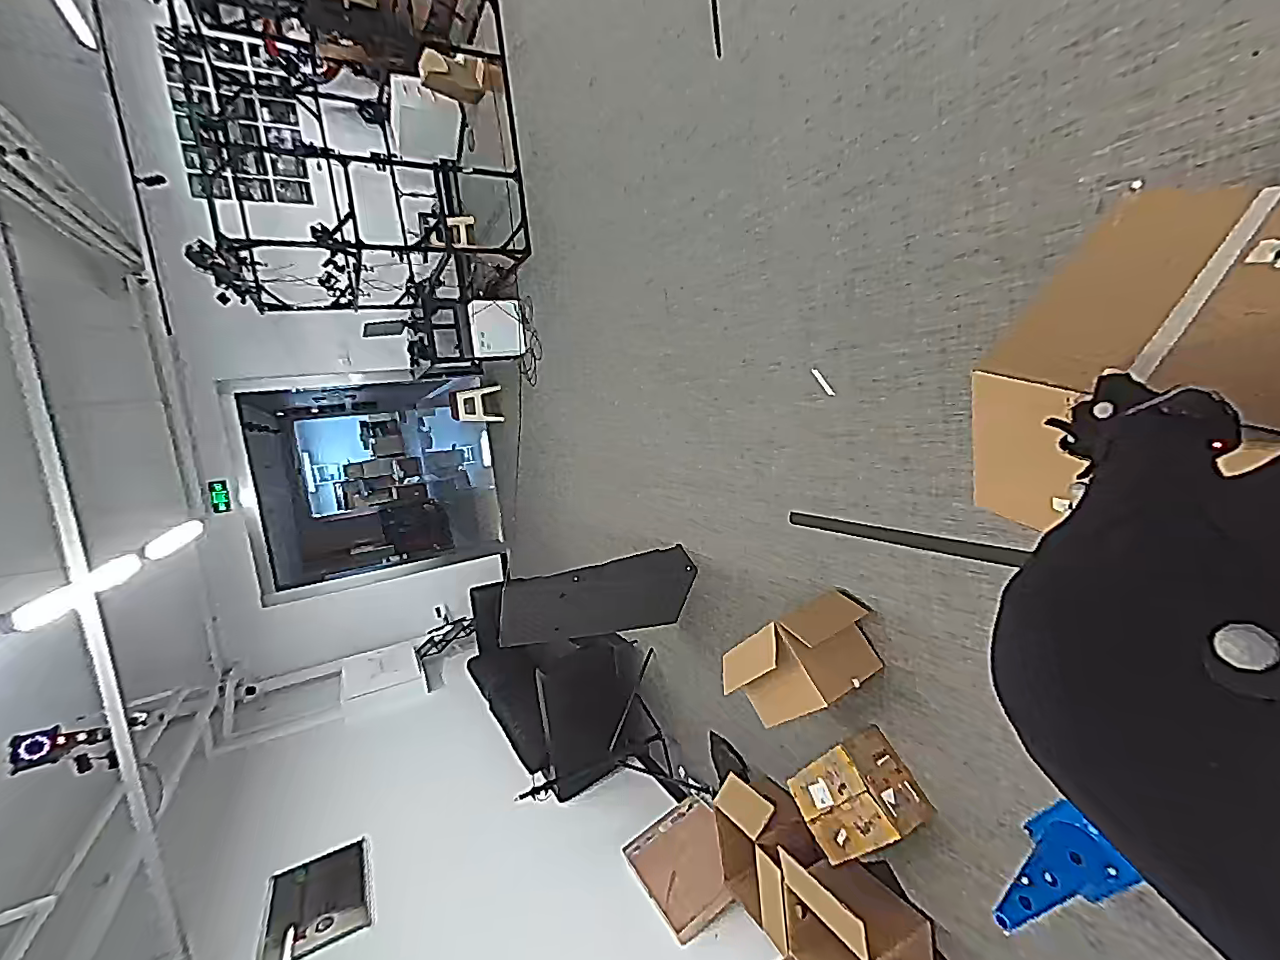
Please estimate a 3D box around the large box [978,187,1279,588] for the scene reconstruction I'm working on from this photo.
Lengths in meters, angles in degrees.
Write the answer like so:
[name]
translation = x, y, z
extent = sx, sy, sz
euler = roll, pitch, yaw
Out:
[large box]
translation = 0.732, -0.137, 0.745
extent = 0.320, 0.408, 0.320
euler = 32, 163, 46
